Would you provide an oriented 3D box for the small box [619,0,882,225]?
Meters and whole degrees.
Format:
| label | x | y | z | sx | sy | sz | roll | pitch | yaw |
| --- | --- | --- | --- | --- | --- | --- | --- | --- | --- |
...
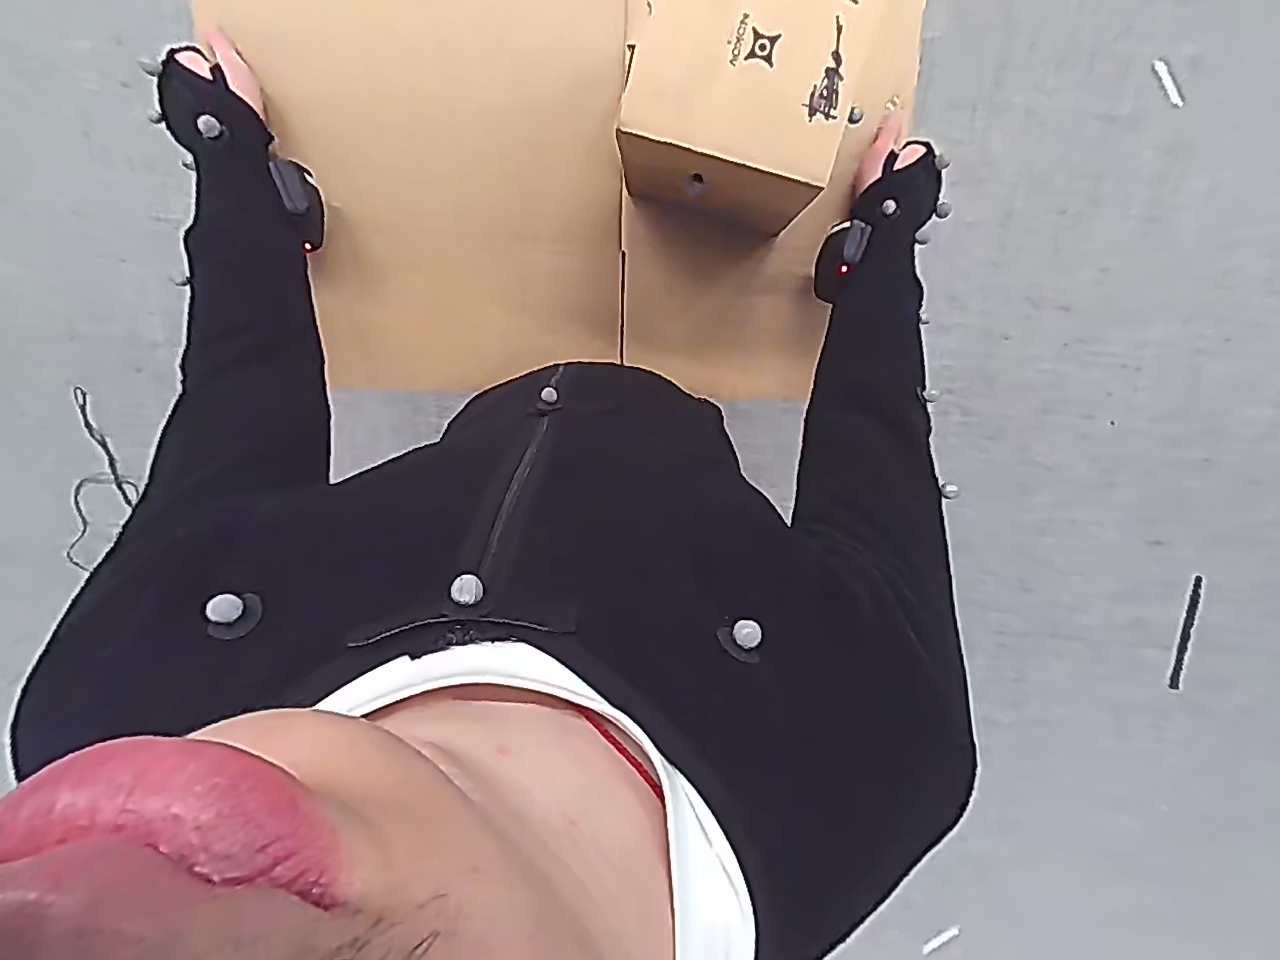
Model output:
| label | x | y | z | sx | sy | sz | roll | pitch | yaw |
| --- | --- | --- | --- | --- | --- | --- | --- | --- | --- |
| small box | 0.091 | -0.353 | 0.494 | 0.179 | 0.176 | 0.168 | 15 | 103 | -1 |
